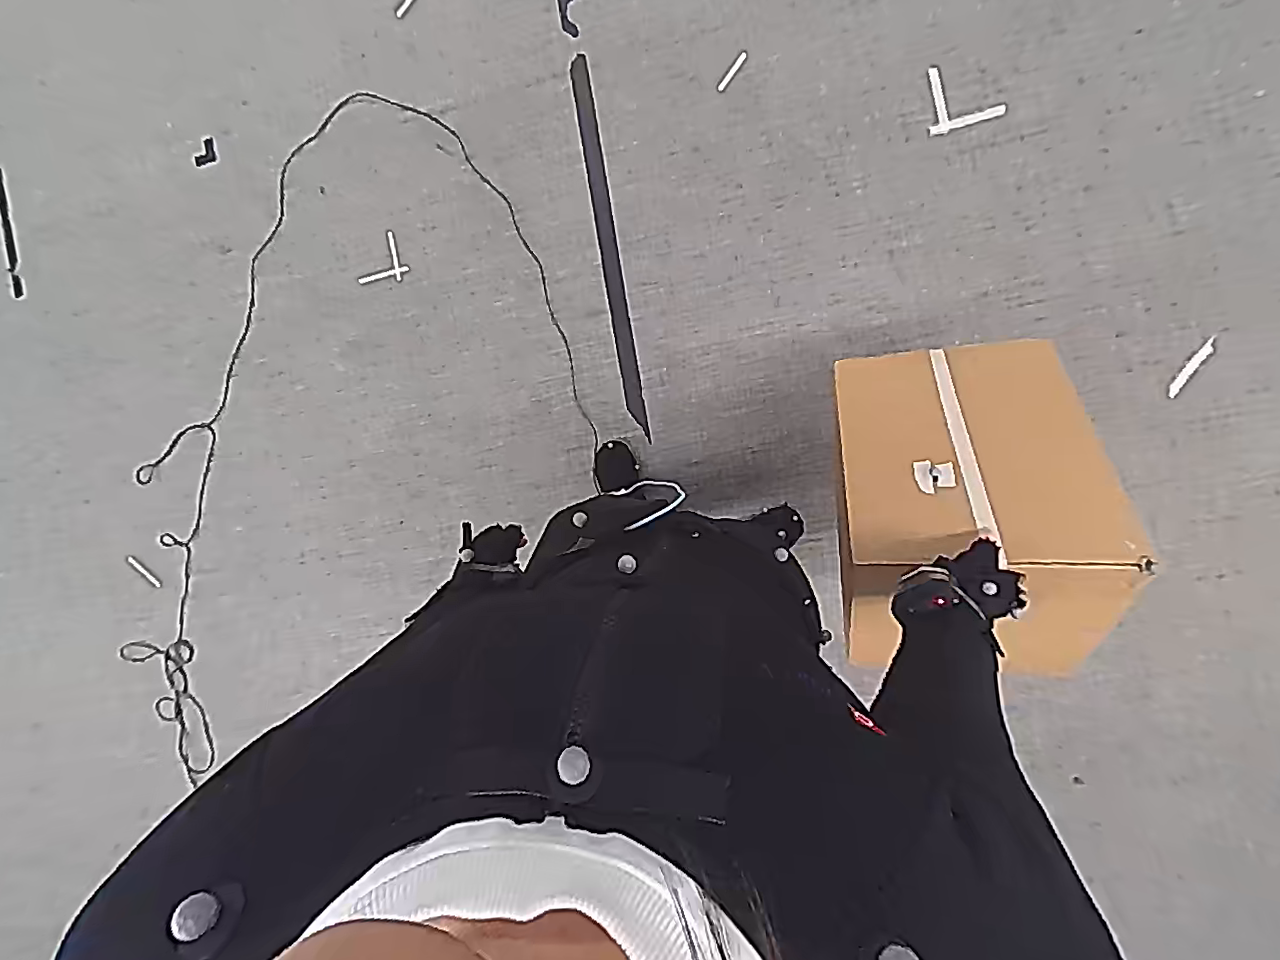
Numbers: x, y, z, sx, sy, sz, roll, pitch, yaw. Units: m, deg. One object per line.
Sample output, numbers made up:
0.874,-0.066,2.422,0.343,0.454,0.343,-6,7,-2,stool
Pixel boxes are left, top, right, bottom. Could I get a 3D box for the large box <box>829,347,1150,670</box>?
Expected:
0.483,0.046,0.868,0.320,0.320,0.408,-3,50,18,large box
